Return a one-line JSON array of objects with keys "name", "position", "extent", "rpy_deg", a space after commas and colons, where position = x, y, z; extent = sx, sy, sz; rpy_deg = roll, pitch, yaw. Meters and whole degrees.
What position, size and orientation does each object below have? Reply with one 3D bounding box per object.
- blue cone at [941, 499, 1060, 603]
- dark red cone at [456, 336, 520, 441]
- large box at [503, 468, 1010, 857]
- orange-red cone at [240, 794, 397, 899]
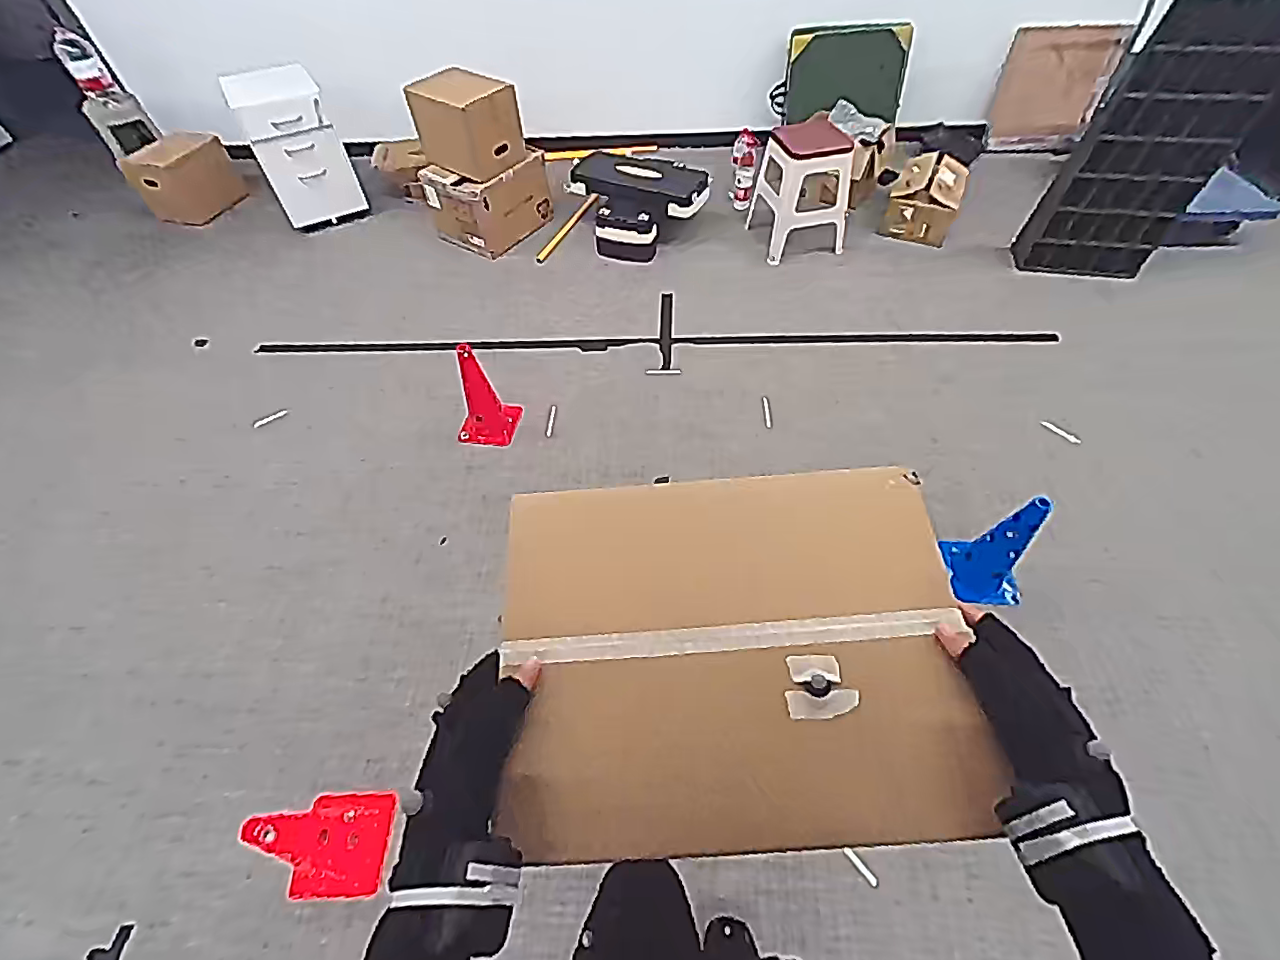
[{"name": "blue cone", "position": [0.989, 0.172, 1.454], "extent": [0.192, 0.380, 0.193], "rpy_deg": [4, 53, 4]}, {"name": "dark red cone", "position": [-0.557, -0.321, 1.852], "extent": [0.201, 0.394, 0.202], "rpy_deg": [6, 53, 6]}, {"name": "large box", "position": [0.084, 0.209, 0.616], "extent": [0.408, 0.320, 0.320], "rpy_deg": [-4, 62, 1]}, {"name": "orange-red cone", "position": [-0.673, 0.726, 1.088], "extent": [0.198, 0.360, 0.199], "rpy_deg": [-2, 54, 2]}]
